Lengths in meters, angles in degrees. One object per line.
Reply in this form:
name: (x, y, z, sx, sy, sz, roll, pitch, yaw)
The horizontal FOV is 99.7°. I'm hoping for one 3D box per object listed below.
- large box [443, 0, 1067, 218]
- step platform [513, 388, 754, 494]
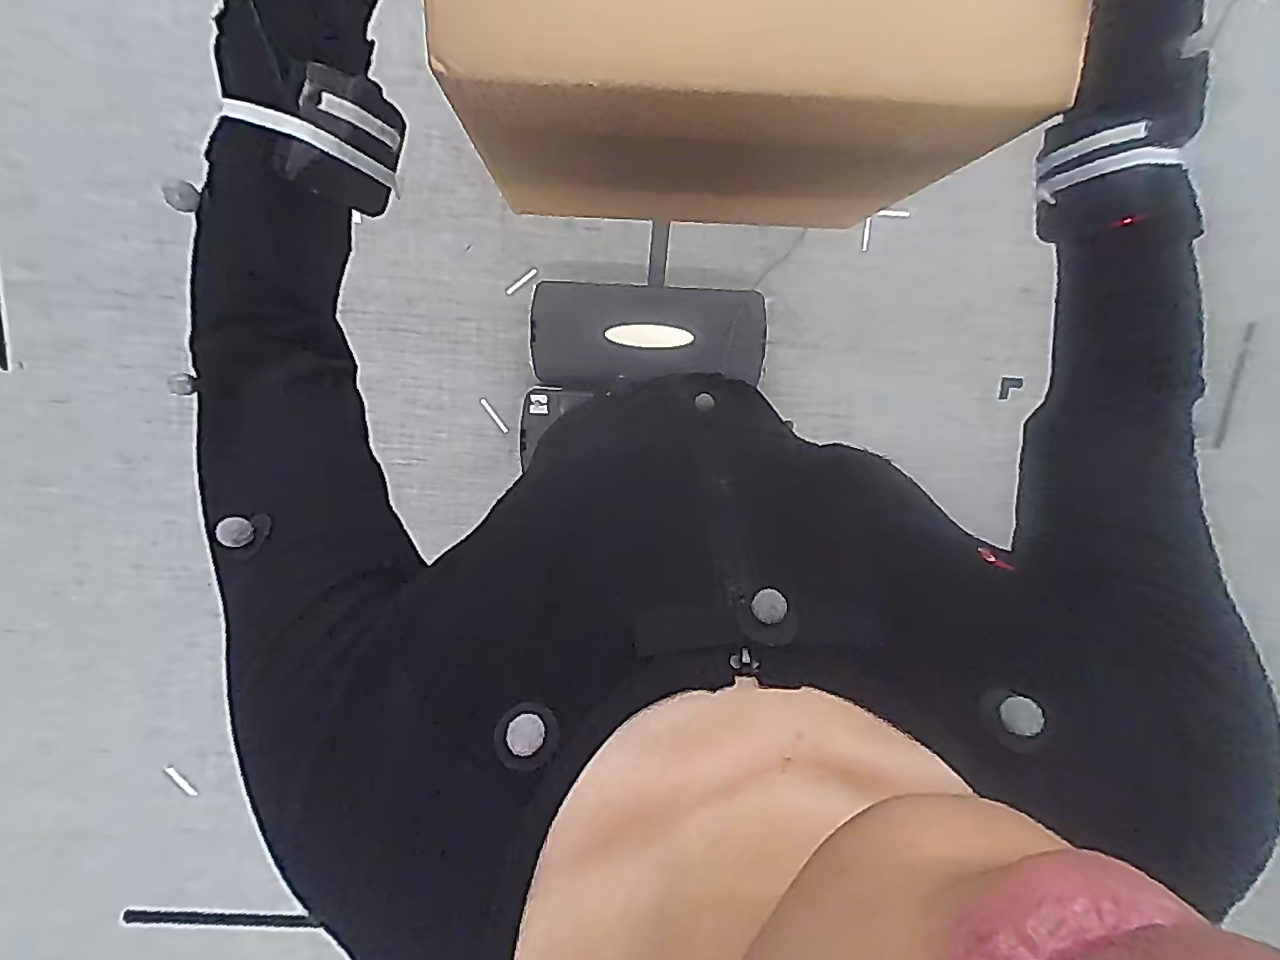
large box: (0.064, -0.428, 0.460, 0.408, 0.320, 0.320, -1, 103, -5)
step platform: (-0.018, -0.114, 1.562, 0.684, 0.204, 0.286, 1, 99, -1)
